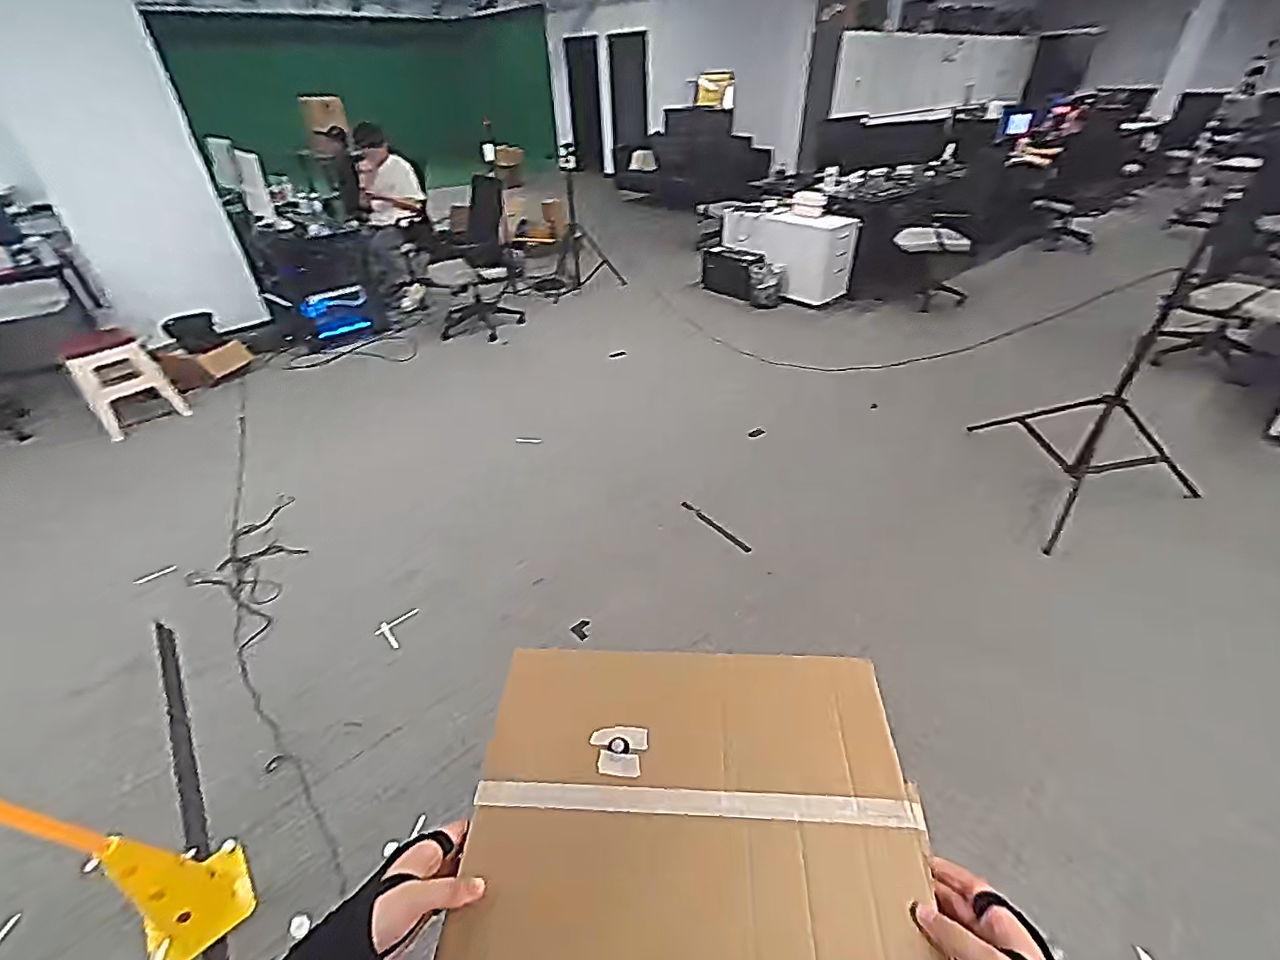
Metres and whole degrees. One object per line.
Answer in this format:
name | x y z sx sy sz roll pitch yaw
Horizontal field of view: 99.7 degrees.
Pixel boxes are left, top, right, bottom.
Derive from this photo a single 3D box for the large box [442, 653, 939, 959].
large box | 0.056 0.416 0.614 0.408 0.320 0.320 -2 41 7
